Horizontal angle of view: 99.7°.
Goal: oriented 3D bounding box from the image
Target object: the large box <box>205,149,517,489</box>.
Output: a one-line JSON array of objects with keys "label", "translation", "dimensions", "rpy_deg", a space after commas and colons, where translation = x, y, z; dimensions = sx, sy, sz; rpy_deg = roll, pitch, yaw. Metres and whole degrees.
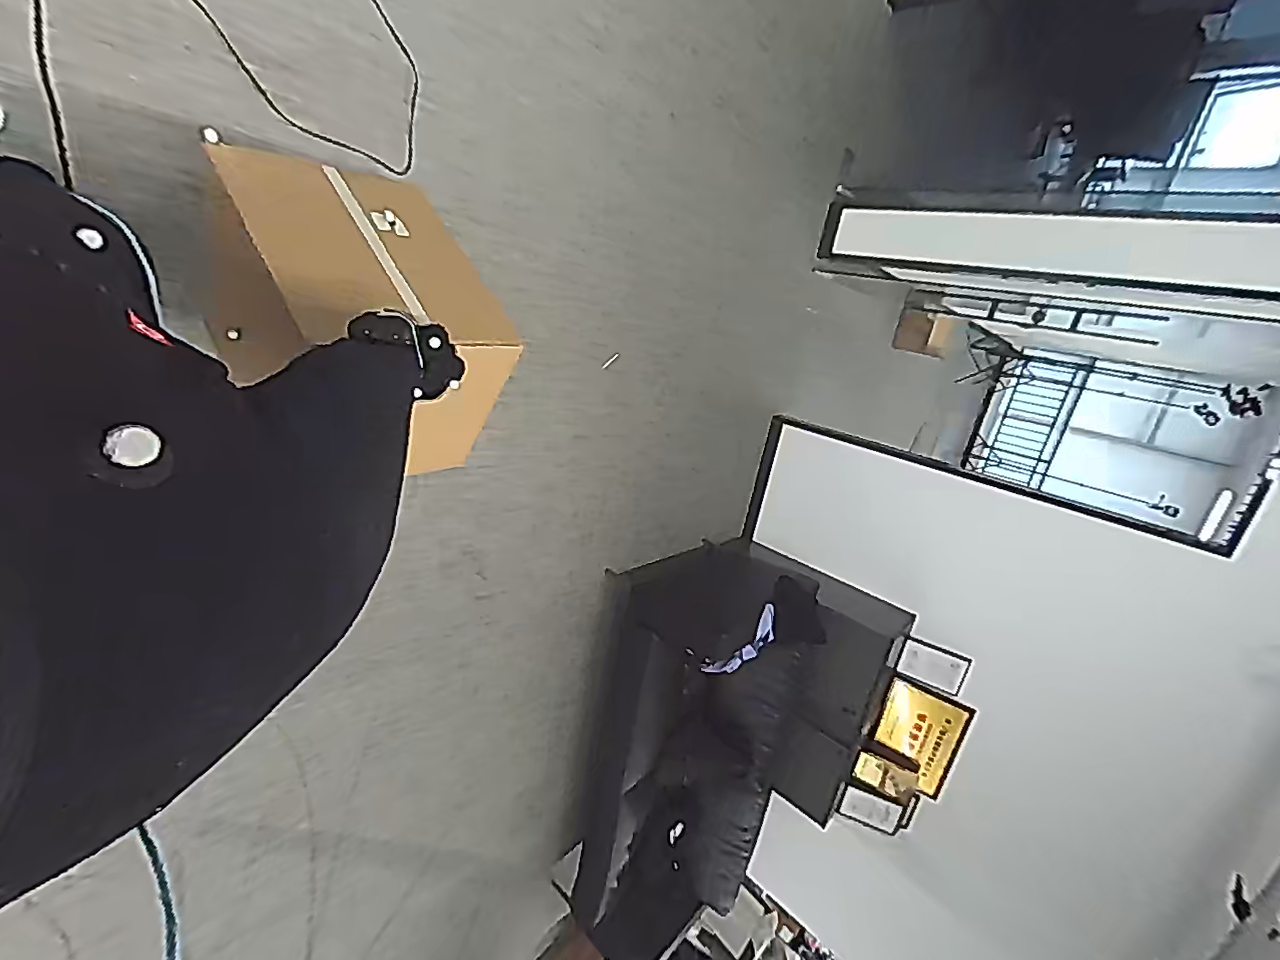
[{"label": "large box", "translation": [-0.477, -0.251, 0.903], "dimensions": [0.320, 0.408, 0.320], "rpy_deg": [-15, 154, -48]}]
